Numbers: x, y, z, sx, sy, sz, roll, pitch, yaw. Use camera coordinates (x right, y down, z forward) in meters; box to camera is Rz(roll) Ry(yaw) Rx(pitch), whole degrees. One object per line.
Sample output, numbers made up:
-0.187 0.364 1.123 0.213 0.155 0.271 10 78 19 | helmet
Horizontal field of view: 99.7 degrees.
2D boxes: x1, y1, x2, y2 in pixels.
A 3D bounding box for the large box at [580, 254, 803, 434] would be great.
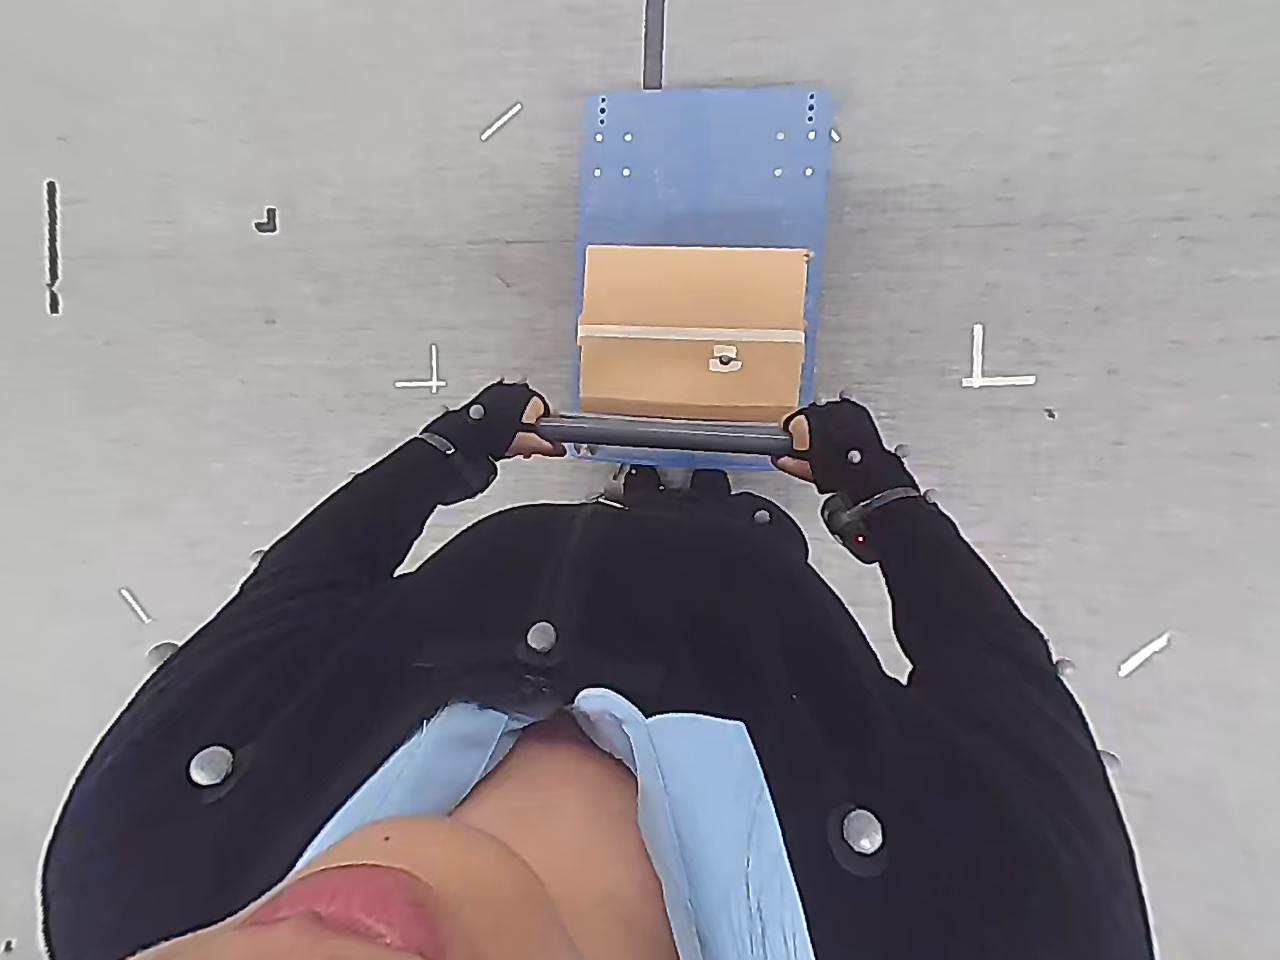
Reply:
0.100 -0.262 1.135 0.408 0.320 0.320 3 94 5 | large box
